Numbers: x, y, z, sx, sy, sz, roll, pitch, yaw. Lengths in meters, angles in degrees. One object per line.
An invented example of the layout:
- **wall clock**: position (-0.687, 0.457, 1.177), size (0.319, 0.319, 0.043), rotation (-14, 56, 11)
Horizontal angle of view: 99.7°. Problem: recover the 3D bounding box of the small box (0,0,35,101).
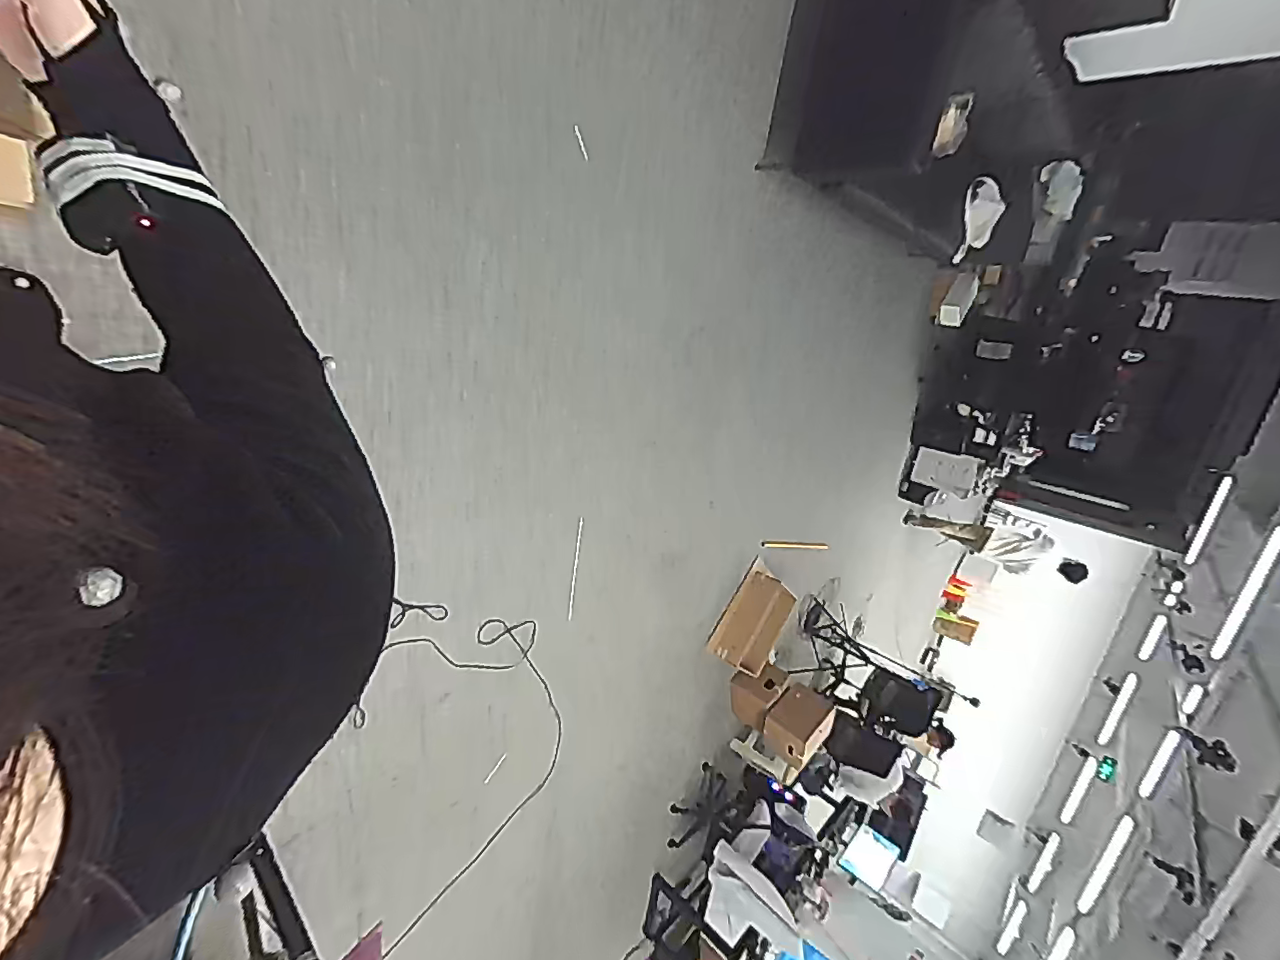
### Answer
- **small box**: position (-0.707, -0.481, 0.503), size (0.179, 0.176, 0.168), rotation (-9, 113, -45)
